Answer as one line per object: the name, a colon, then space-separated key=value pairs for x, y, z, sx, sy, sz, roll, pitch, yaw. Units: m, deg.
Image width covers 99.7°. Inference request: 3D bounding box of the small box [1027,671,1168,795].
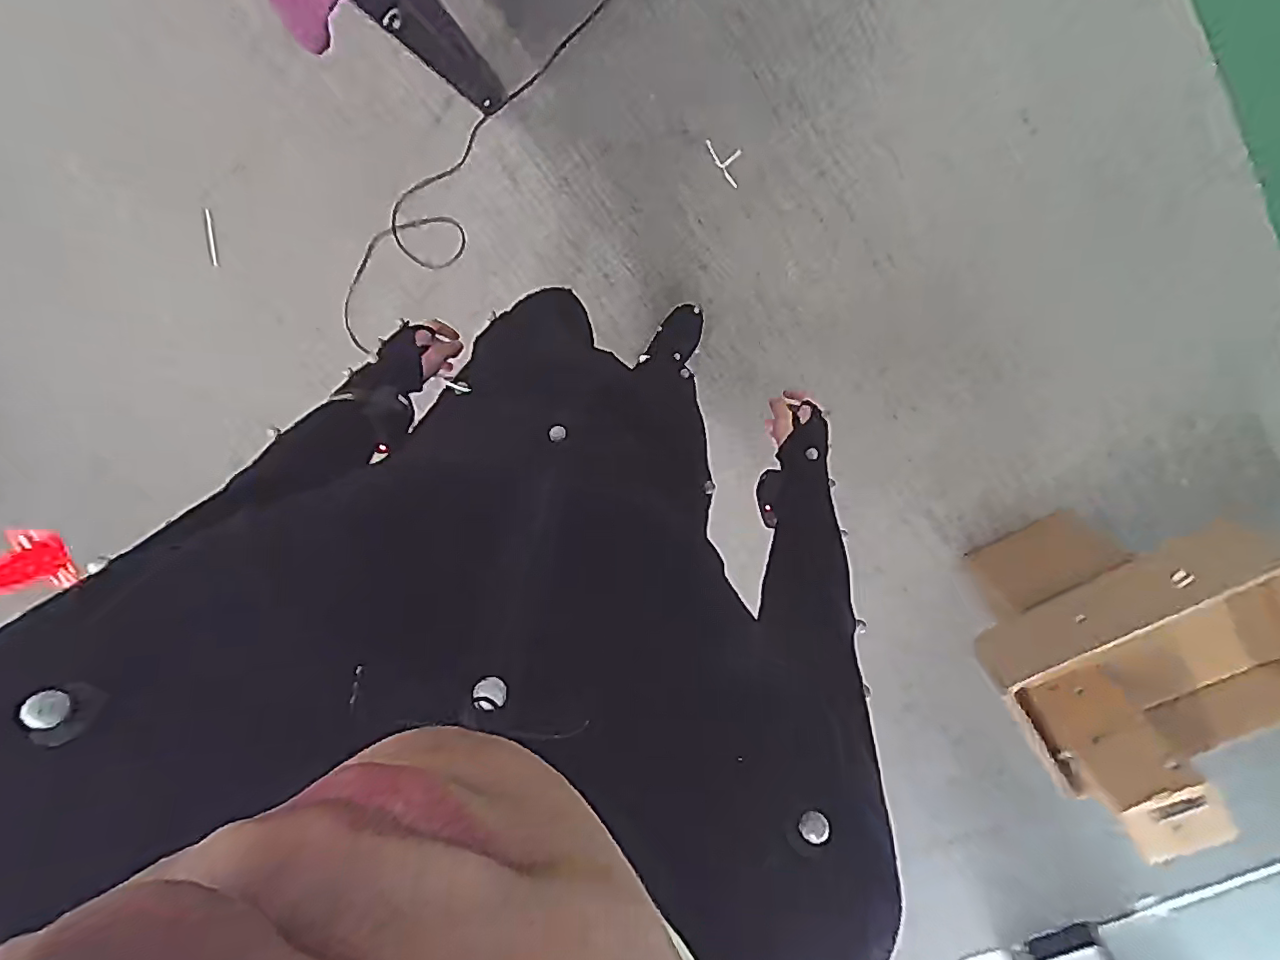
small box: x=1.071 y=0.592 z=1.280 sx=0.168 sy=0.176 sz=0.179 roll=-32 pitch=104 yaw=16
